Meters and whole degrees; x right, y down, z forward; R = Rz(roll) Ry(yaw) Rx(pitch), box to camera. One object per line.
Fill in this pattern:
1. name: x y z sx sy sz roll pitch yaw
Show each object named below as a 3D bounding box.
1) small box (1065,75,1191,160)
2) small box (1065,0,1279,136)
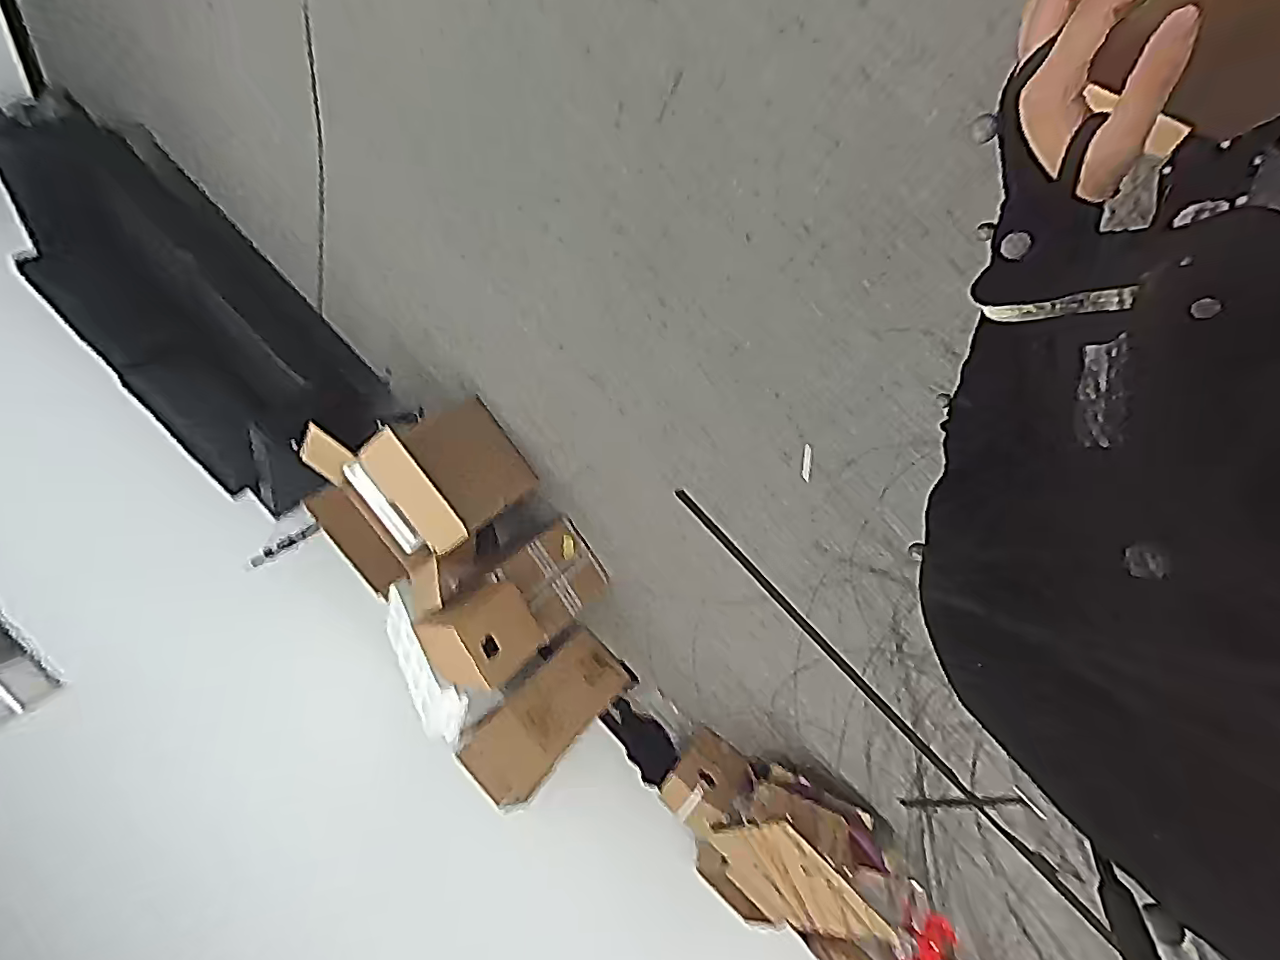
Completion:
1. small box: 0.831 -0.647 0.860 0.168 0.176 0.179 38 139 12
2. small box: 0.332 -0.315 0.256 0.168 0.179 0.176 168 102 -67
